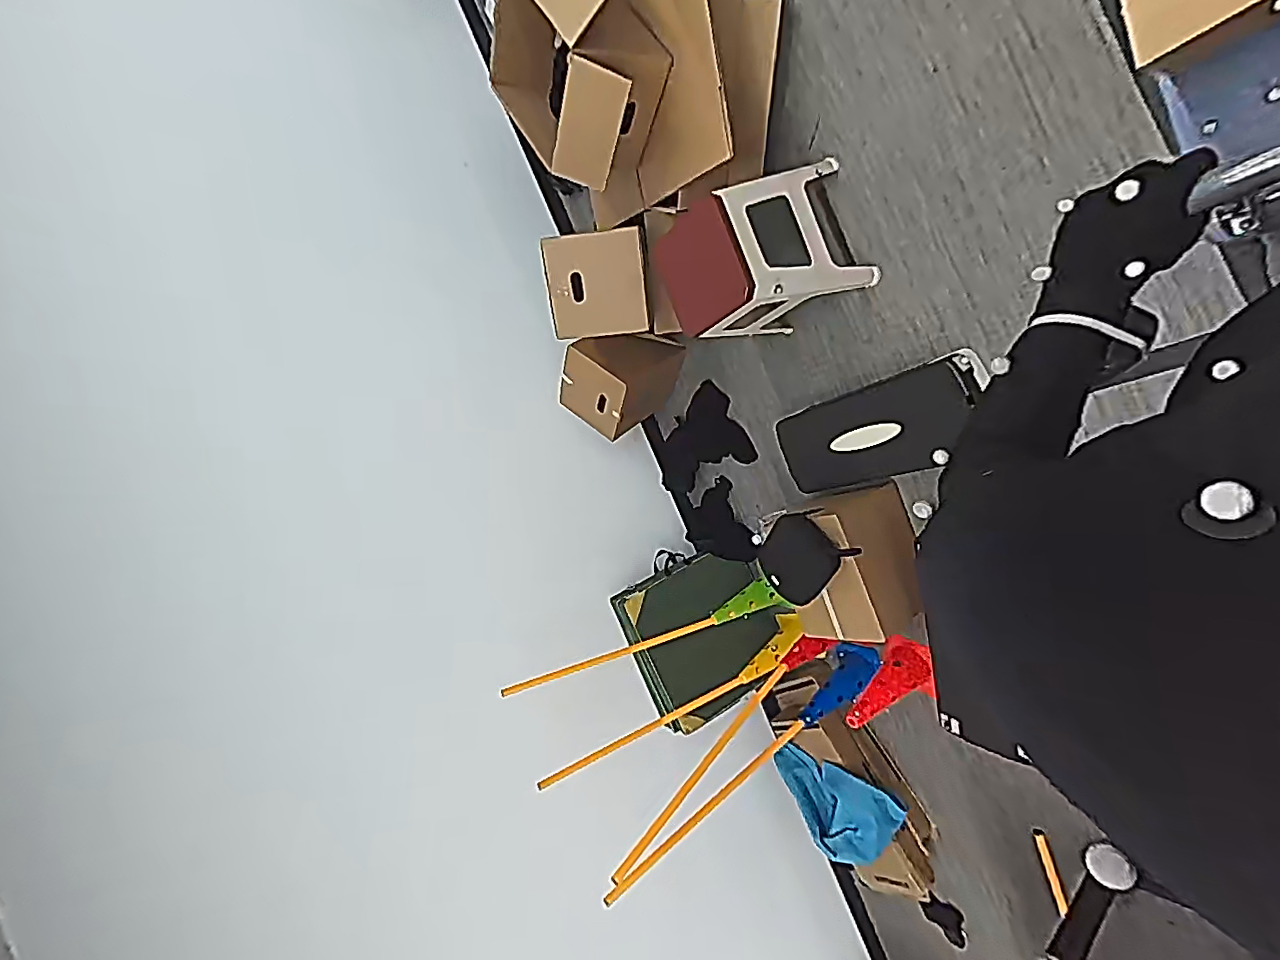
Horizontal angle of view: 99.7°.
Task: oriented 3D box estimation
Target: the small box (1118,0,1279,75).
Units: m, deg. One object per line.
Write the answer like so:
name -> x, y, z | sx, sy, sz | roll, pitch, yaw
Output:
small box -> 0.799, -0.702, 0.746 | 0.179, 0.176, 0.168 | -10, 100, 56
